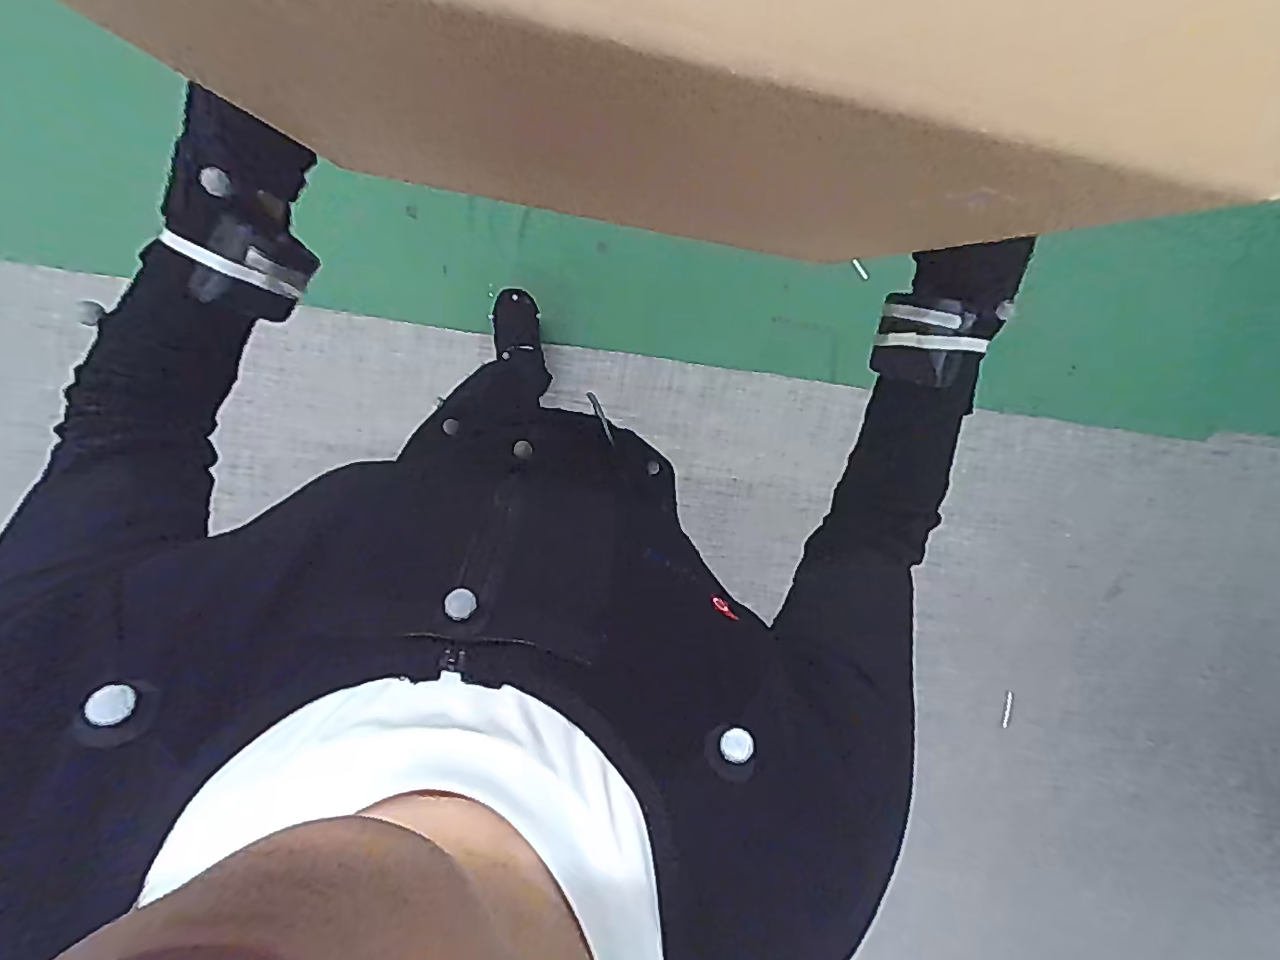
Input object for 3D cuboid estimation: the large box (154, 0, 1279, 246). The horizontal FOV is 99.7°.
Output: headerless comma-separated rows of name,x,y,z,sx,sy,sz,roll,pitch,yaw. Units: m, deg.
large box,0.020,-0.319,0.250,0.408,0.320,0.320,7,108,-11
